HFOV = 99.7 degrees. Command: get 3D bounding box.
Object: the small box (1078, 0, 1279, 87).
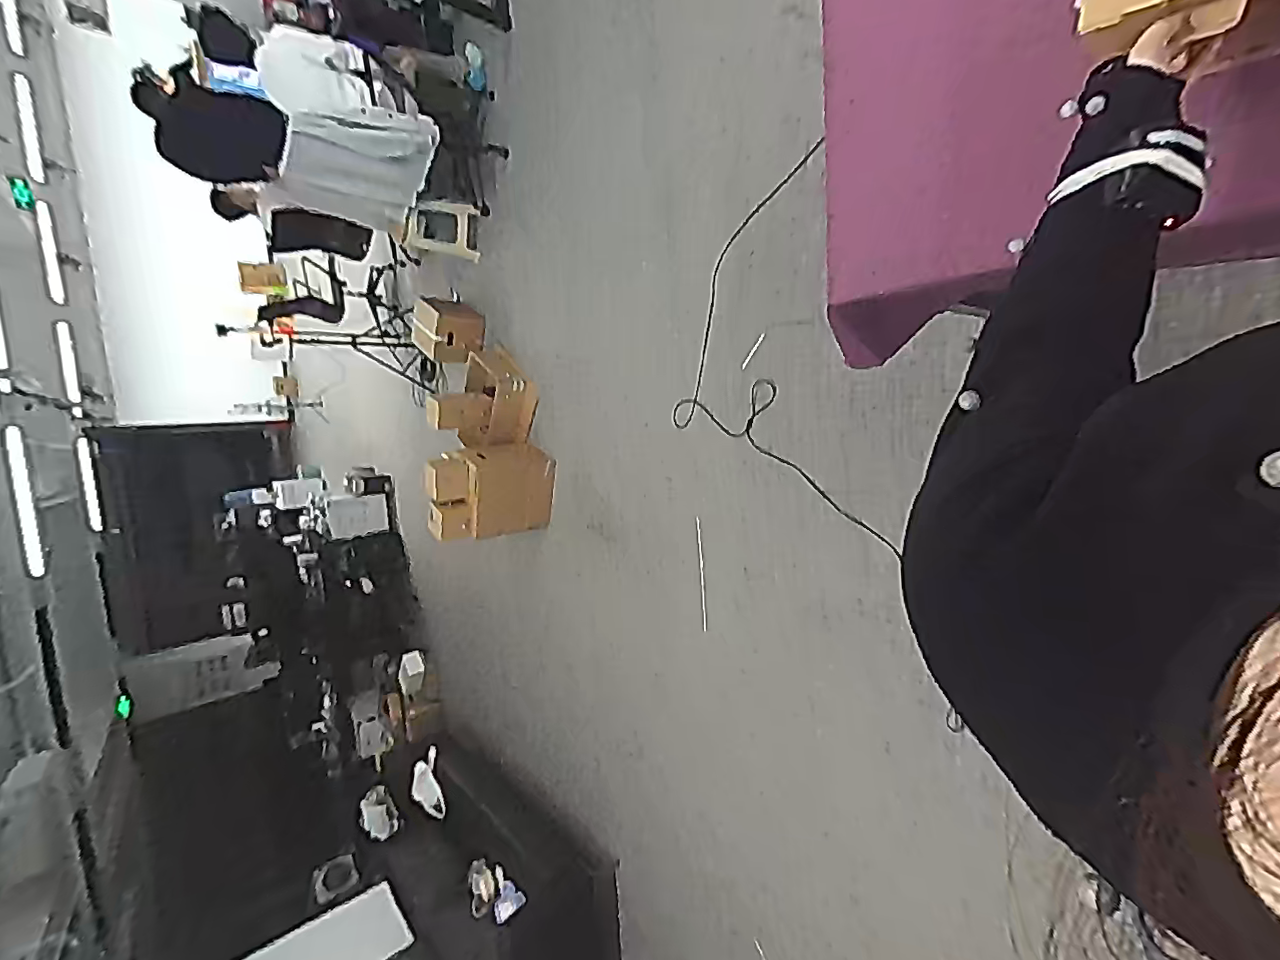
[{"bbox_3d":[0.520,-0.491,0.472,0.168,0.176,0.179,17,110,48],"label":"small box"}]
